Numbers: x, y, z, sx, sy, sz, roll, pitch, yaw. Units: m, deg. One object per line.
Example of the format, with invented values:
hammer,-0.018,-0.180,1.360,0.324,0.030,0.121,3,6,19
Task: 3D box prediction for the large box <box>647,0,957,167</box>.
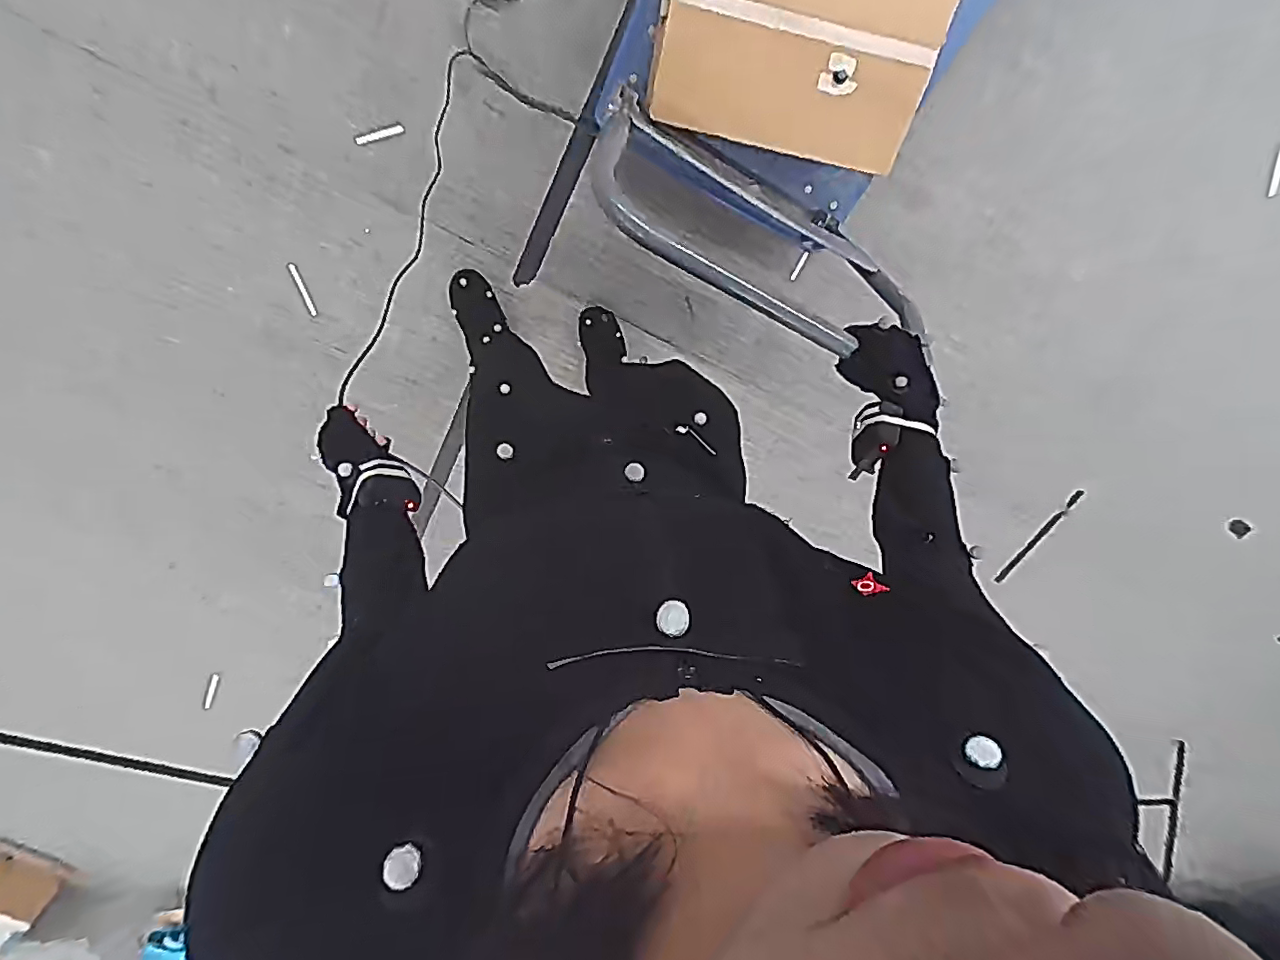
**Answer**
large box,0.238,-0.745,0.895,0.408,0.320,0.320,8,126,-8
